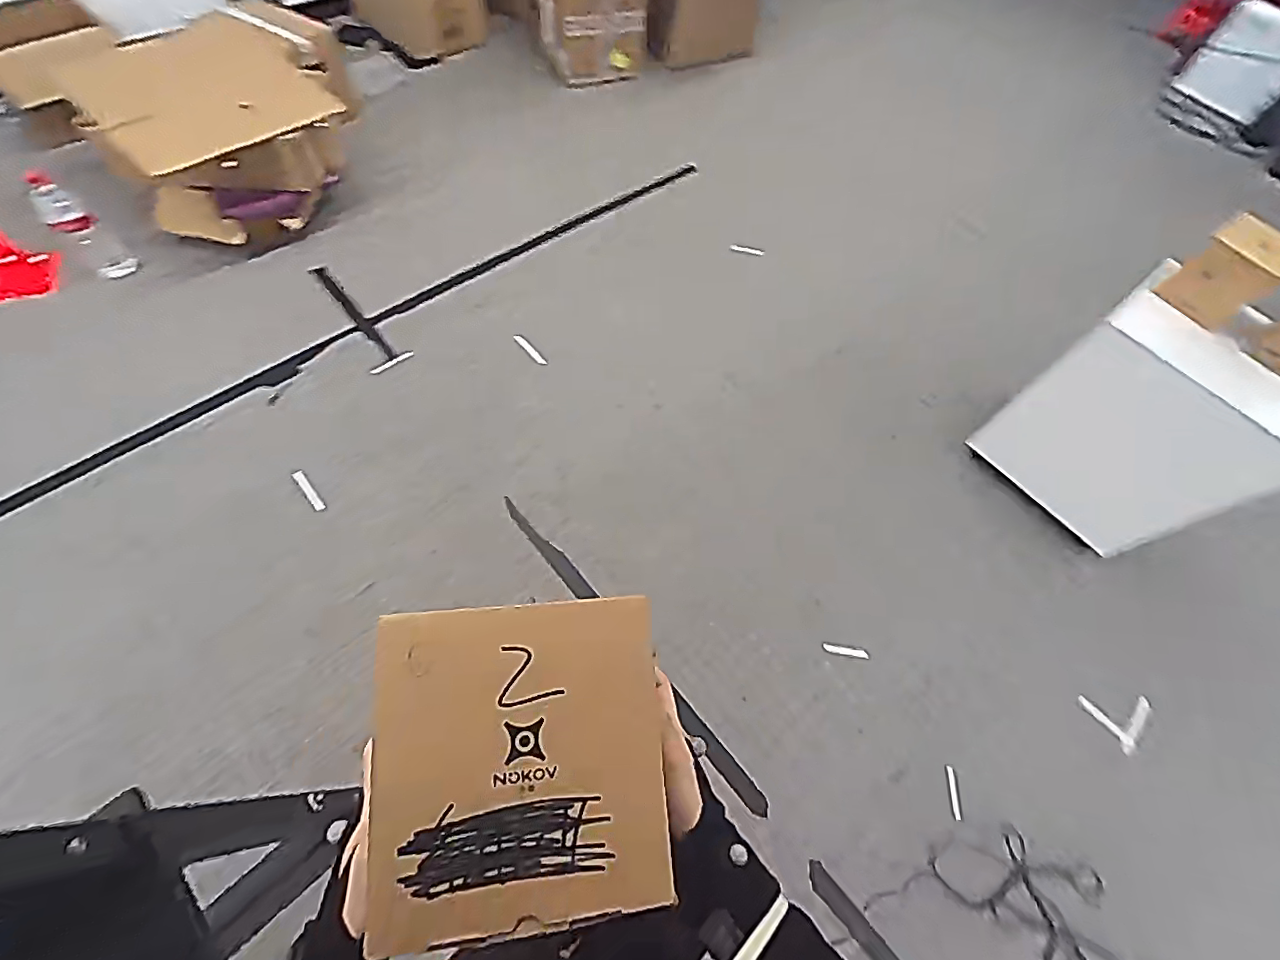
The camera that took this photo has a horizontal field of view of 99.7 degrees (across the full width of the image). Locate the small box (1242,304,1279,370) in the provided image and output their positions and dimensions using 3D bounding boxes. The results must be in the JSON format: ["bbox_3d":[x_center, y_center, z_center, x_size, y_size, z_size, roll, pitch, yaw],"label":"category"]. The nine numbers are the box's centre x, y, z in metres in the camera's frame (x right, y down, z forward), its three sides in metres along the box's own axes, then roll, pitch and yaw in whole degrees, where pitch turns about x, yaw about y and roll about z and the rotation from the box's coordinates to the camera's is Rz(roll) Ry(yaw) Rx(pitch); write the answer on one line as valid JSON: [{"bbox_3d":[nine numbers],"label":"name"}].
[{"bbox_3d":[1.571,-0.353,1.245,0.179,0.176,0.168,-34,70,-22],"label":"small box"}]

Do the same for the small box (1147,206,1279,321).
[{"bbox_3d":[1.409,-0.523,1.320,0.179,0.176,0.168,-32,70,-21],"label":"small box"}]
